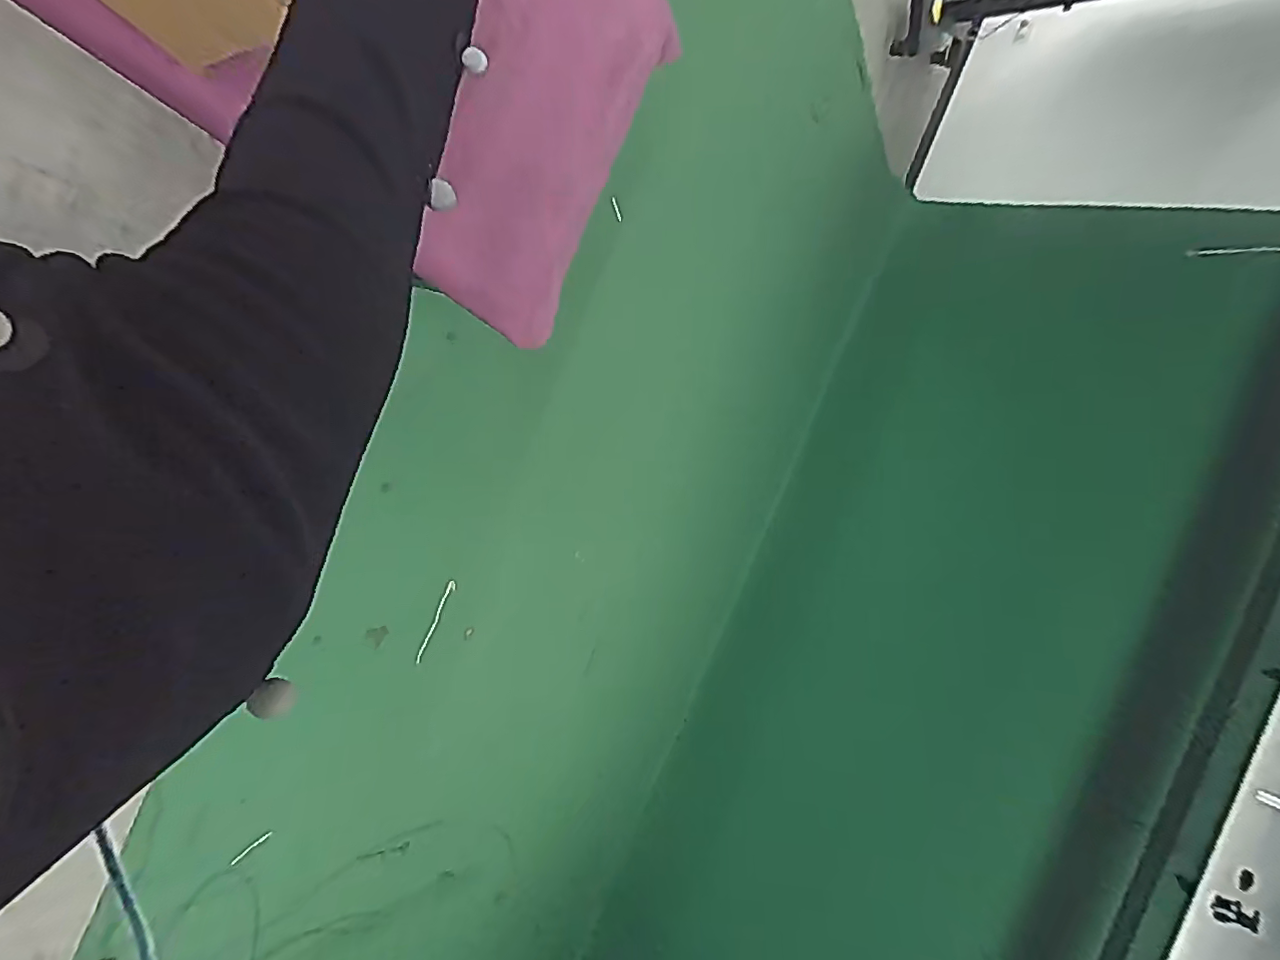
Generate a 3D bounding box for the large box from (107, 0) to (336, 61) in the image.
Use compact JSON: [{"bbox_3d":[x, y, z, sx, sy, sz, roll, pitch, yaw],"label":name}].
[{"bbox_3d":[-0.332,-0.593,0.352,0.320,0.320,0.408,30,84,-55],"label":"large box"}]
